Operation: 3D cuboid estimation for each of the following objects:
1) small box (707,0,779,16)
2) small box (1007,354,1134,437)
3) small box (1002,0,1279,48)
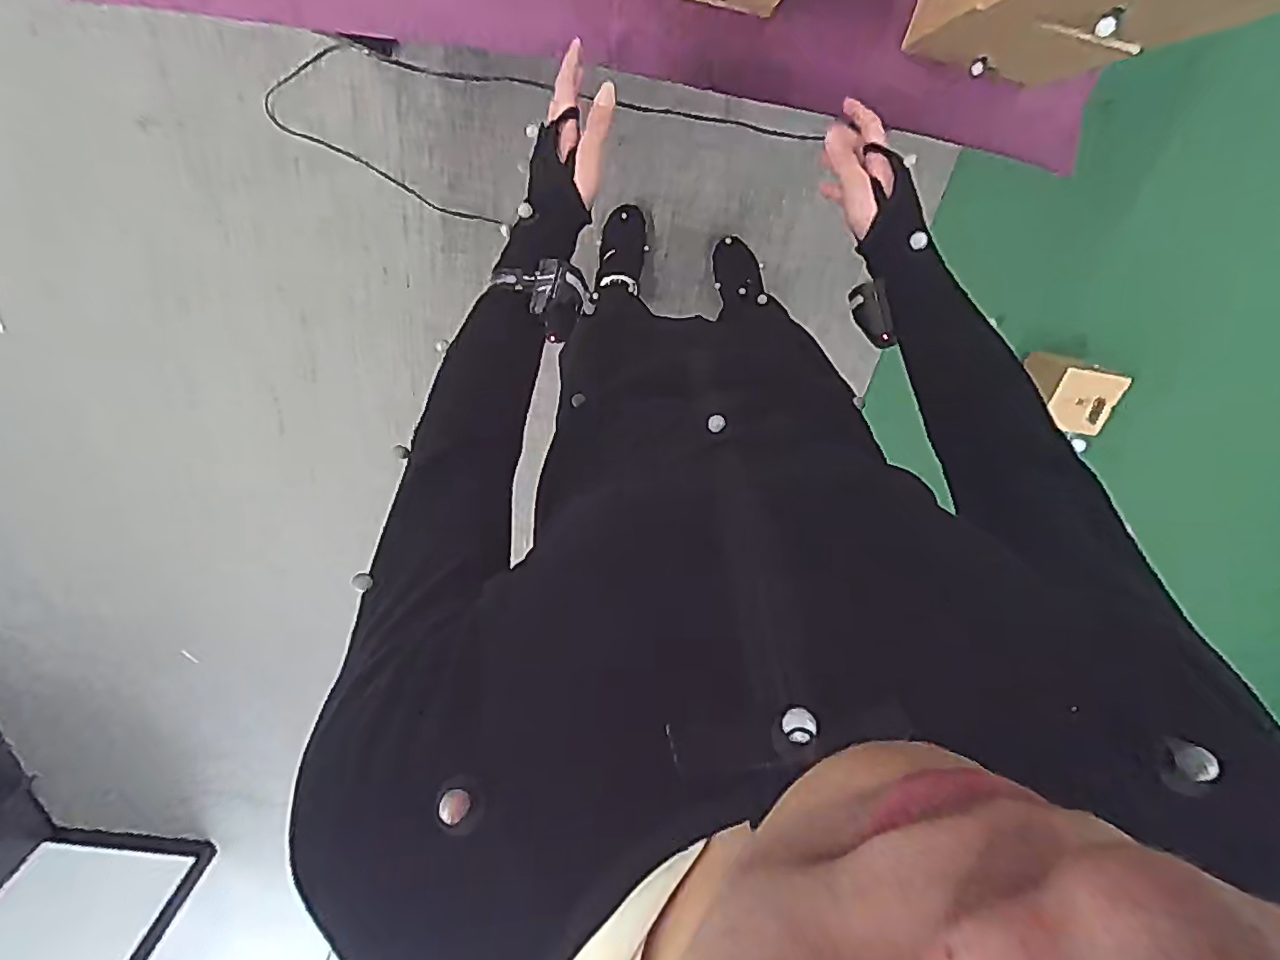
[{"bbox_3d":[0.084,-0.575,0.503,0.168,0.176,0.179,11,117,-4],"label":"small box"},{"bbox_3d":[1.168,-0.236,1.484,0.179,0.176,0.168,9,118,-2],"label":"small box"},{"bbox_3d":[0.400,-0.441,0.374,0.168,0.176,0.179,10,118,-2],"label":"small box"}]
